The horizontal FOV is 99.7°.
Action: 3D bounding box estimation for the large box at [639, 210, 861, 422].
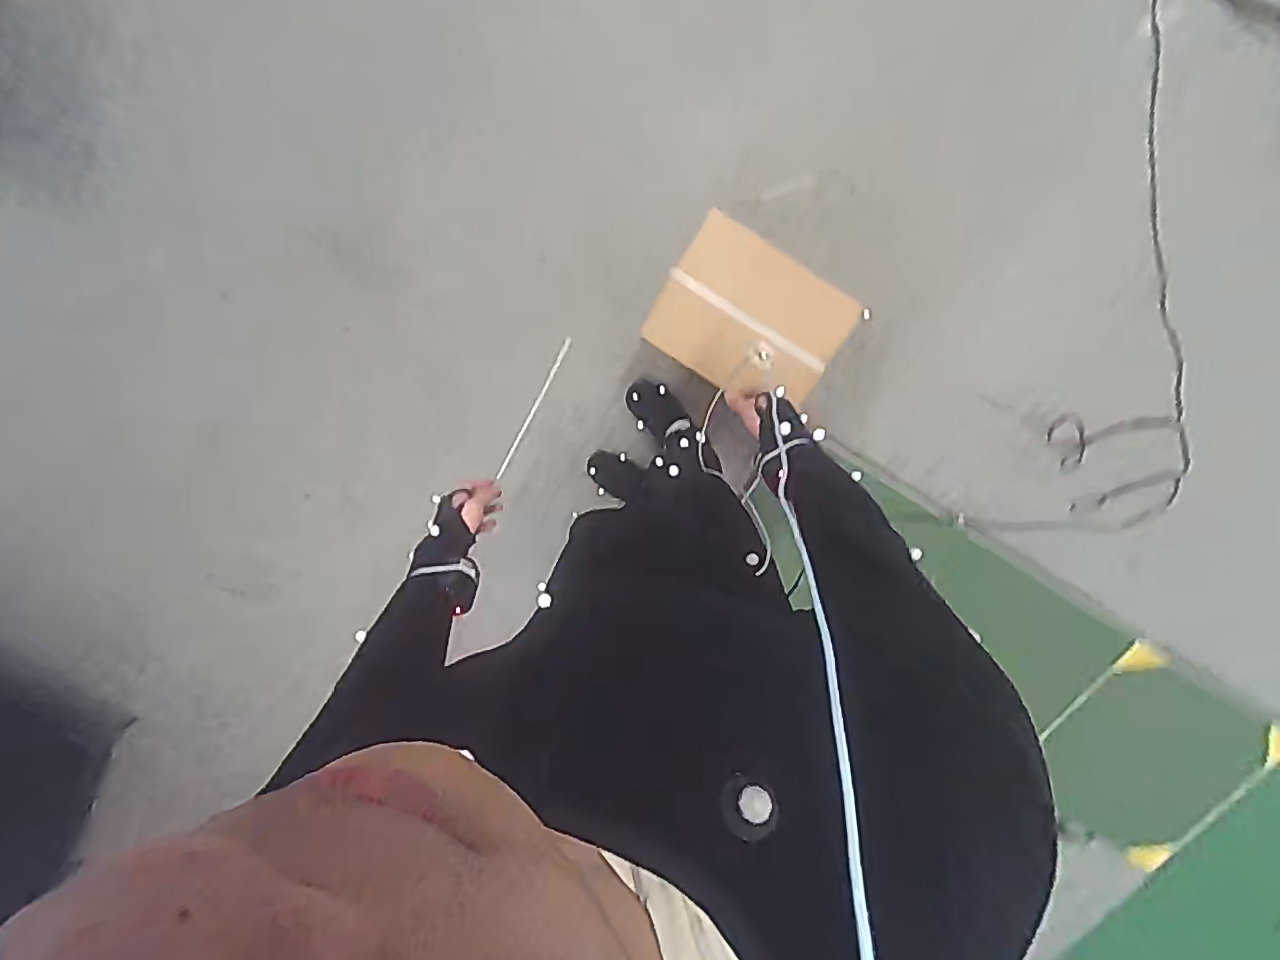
[{"bbox_3d":[0.245,-0.391,1.345,0.408,0.320,0.320,31,104,-5],"label":"large box"}]
